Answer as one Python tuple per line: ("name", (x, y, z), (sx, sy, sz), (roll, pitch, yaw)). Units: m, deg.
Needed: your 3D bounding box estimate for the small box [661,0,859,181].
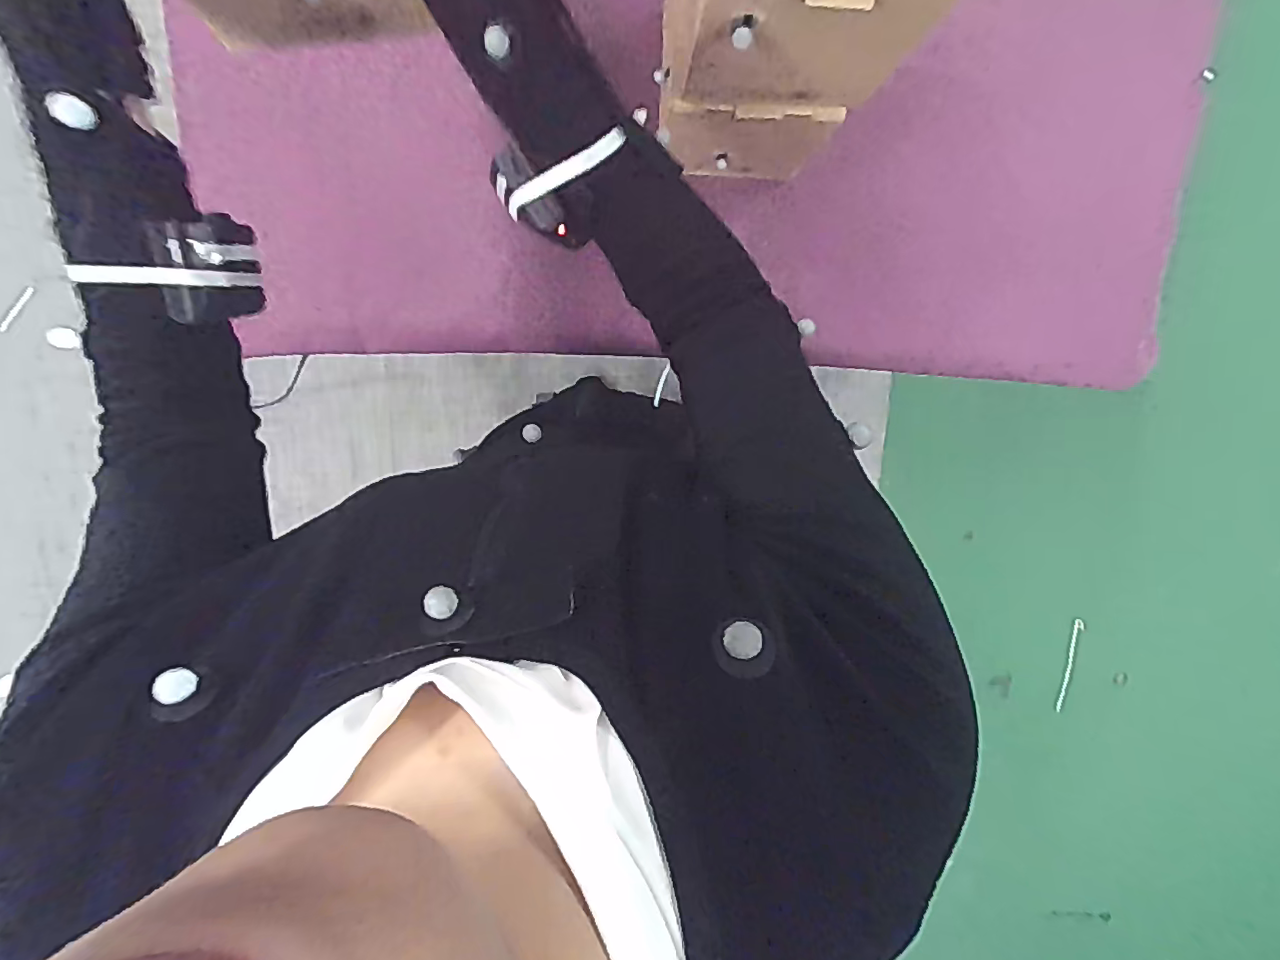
("small box", (0.112, -0.440, 0.565), (0.168, 0.176, 0.179), (2, 103, -2))
